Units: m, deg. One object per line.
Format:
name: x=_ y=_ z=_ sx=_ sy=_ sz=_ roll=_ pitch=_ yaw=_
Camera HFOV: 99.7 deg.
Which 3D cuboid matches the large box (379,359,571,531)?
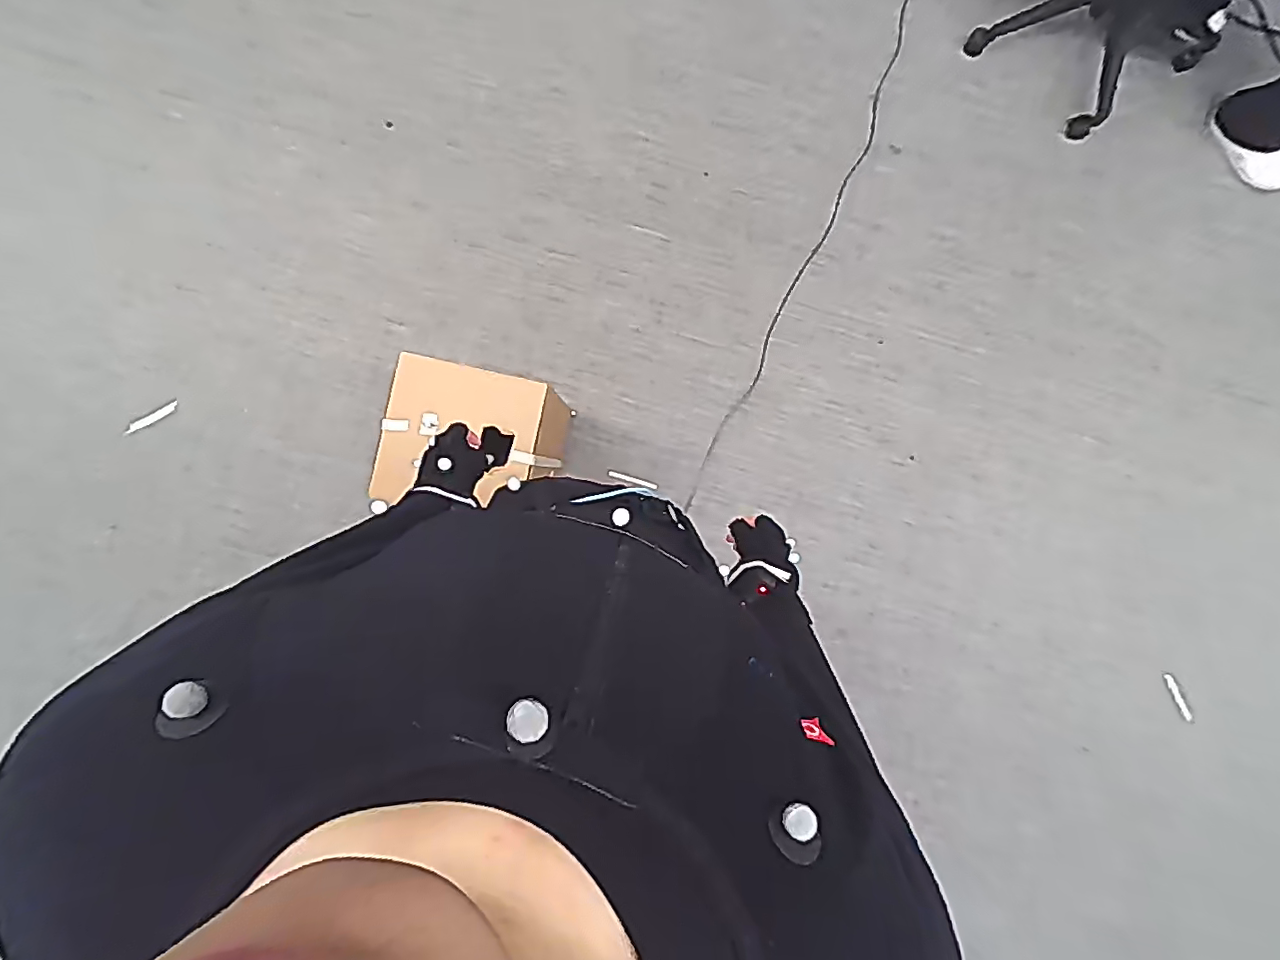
large box: x=-0.369 y=-0.081 z=1.305 sx=0.320 sy=0.408 sz=0.320 roll=13 pitch=91 yaw=-1
